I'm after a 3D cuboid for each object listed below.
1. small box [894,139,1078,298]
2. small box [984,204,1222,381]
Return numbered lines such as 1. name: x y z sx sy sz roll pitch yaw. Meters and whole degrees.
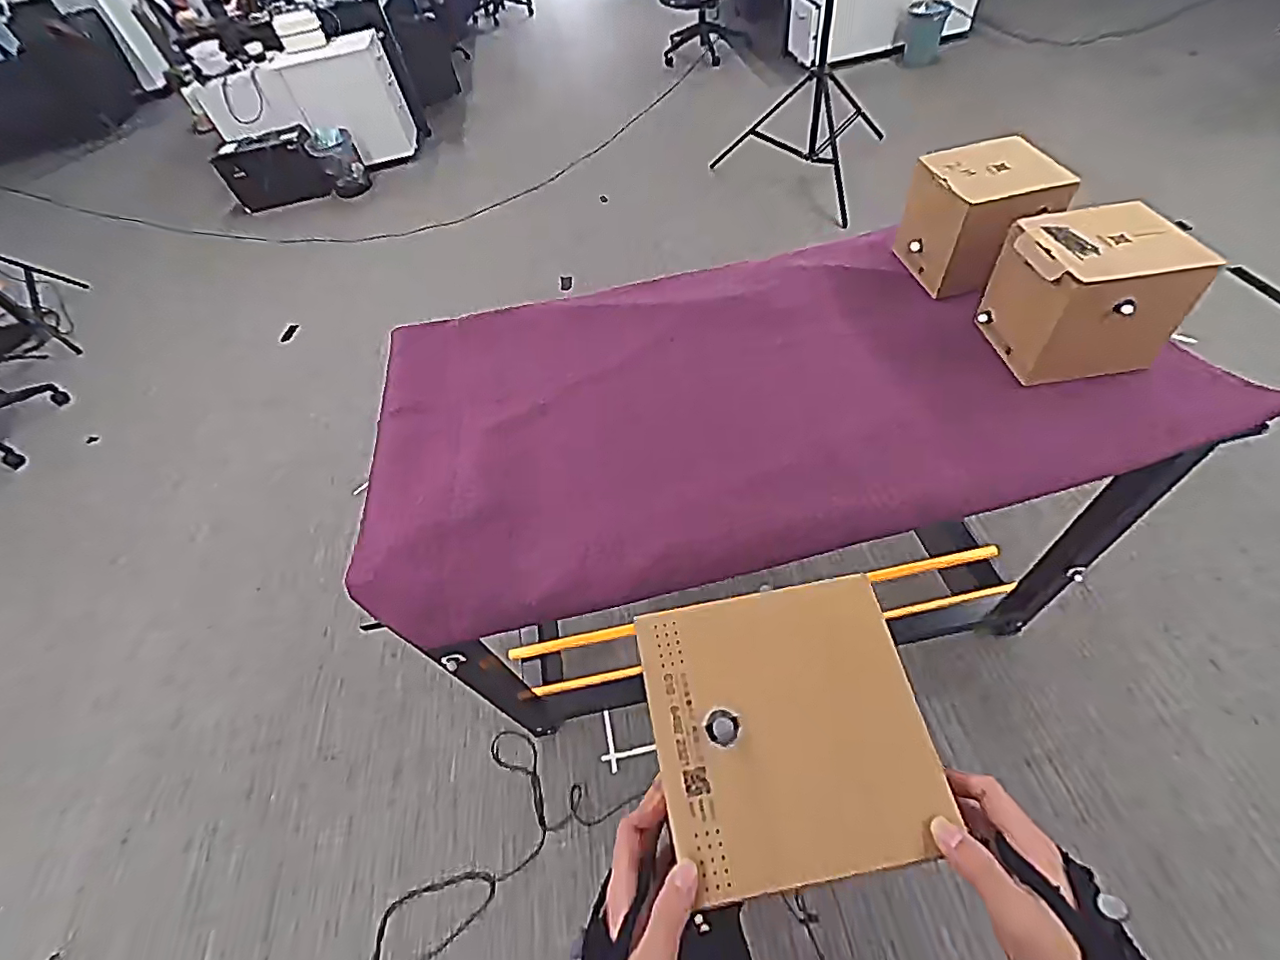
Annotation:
1. small box: 0.564 -0.436 0.911 0.179 0.176 0.168 -13 53 0
2. small box: 0.624 -0.259 0.768 0.179 0.176 0.168 -8 51 3
